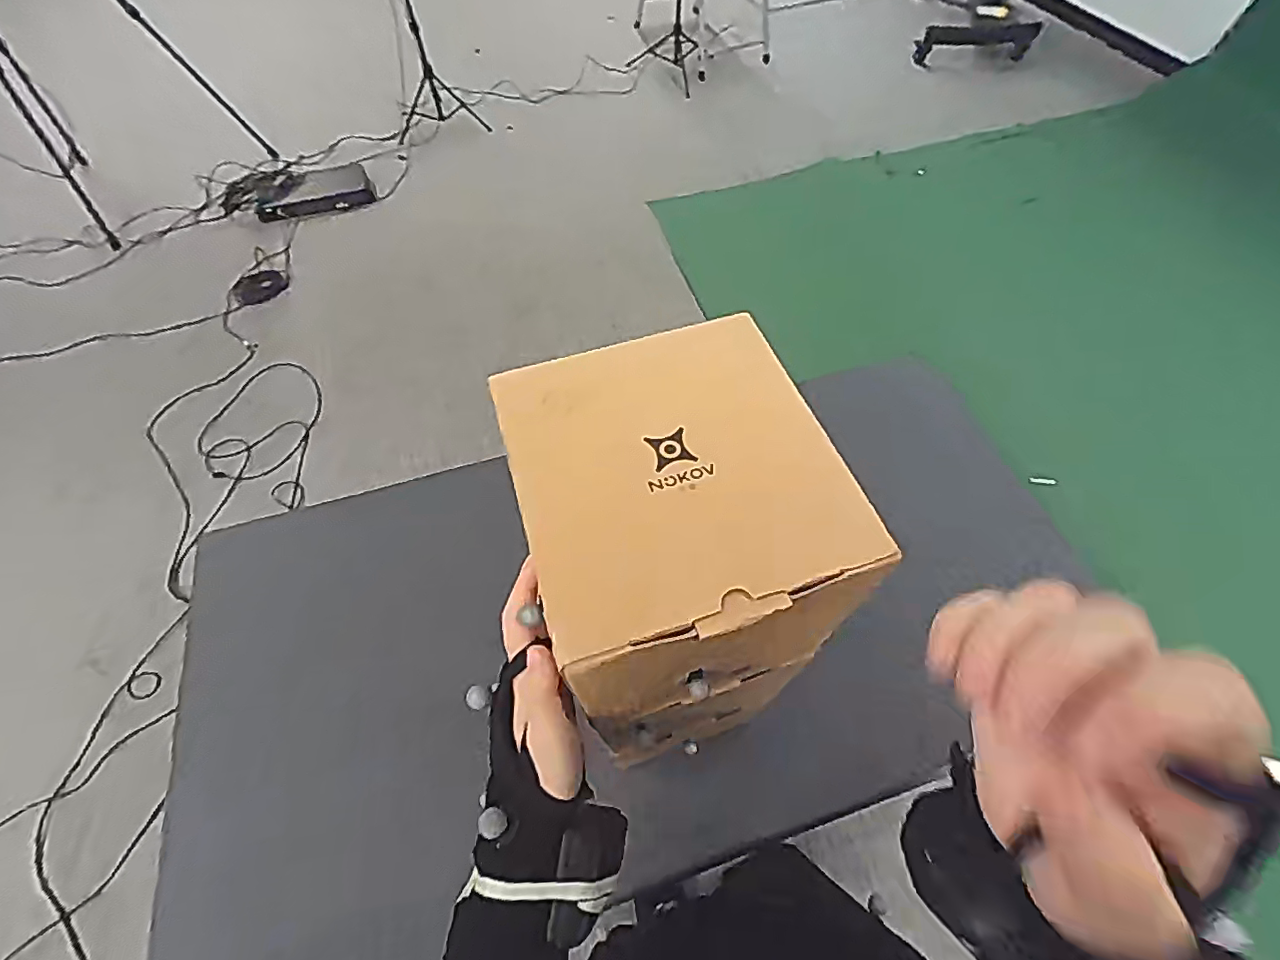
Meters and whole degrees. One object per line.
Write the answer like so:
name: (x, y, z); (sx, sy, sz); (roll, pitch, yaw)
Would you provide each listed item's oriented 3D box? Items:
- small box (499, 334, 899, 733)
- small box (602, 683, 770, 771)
small box: (0.019, 0.040, 0.351); (0.168, 0.176, 0.179); (-16, 59, -10)
small box: (0.025, 0.215, 0.627); (0.168, 0.176, 0.179); (-17, 60, -9)
